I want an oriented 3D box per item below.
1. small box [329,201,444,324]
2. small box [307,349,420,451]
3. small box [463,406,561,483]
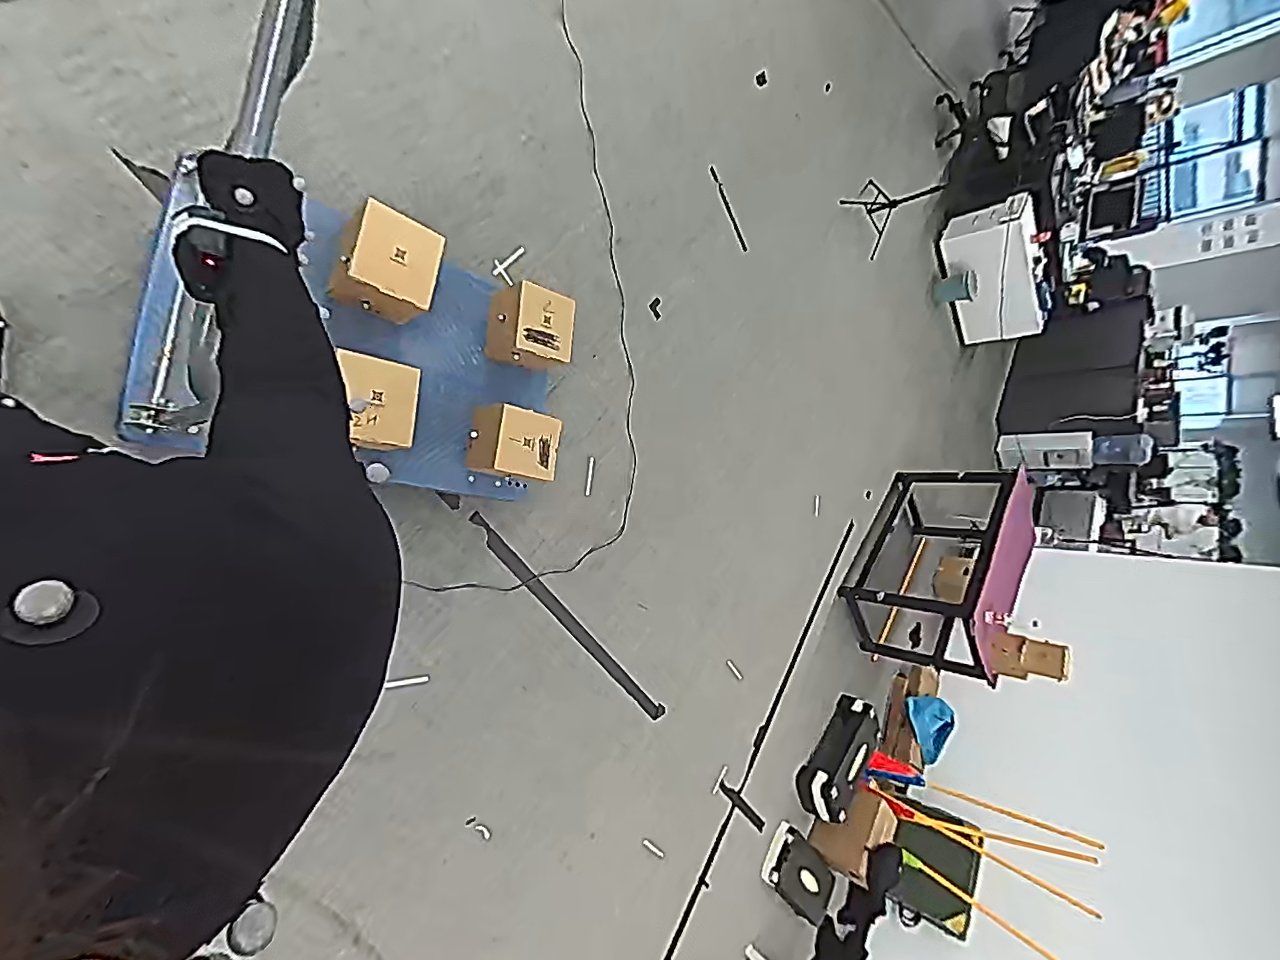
[{"bbox_3d":[-0.563,-0.469,1.195,0.168,0.176,0.179,17,80,-43],"label":"small box"},{"bbox_3d":[-0.598,-0.162,1.164,0.168,0.176,0.179,10,84,-44],"label":"small box"},{"bbox_3d":[-0.337,-0.089,1.420,0.179,0.176,0.168,14,81,-42],"label":"small box"}]
